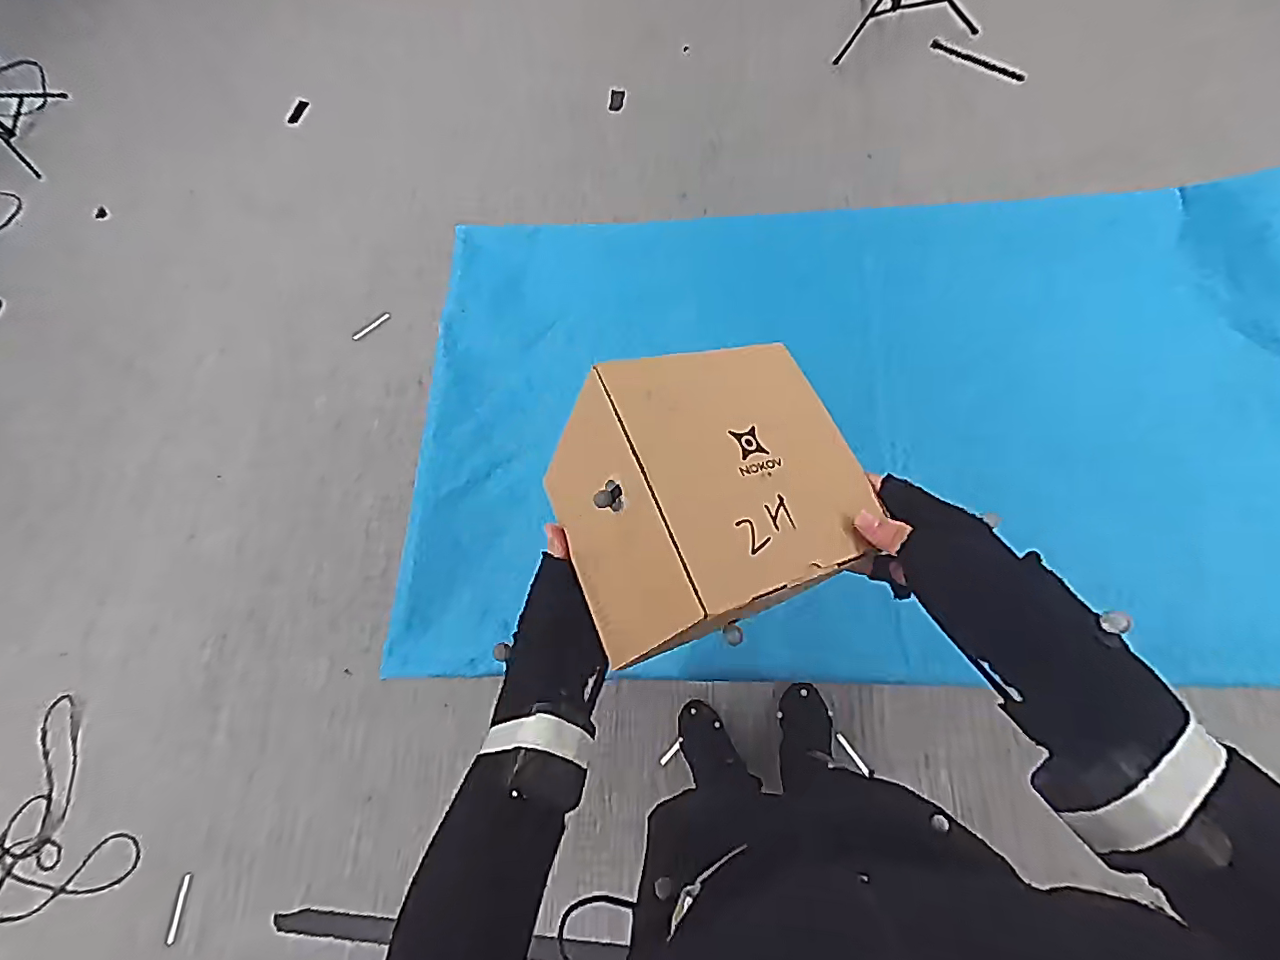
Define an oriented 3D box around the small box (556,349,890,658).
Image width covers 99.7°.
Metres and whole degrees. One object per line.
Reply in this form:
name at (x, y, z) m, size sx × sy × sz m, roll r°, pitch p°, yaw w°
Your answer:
small box at (0.044, 0.022, 0.423) m, size 0.168 × 0.176 × 0.179 m, roll -12°, pitch 71°, yaw -24°
